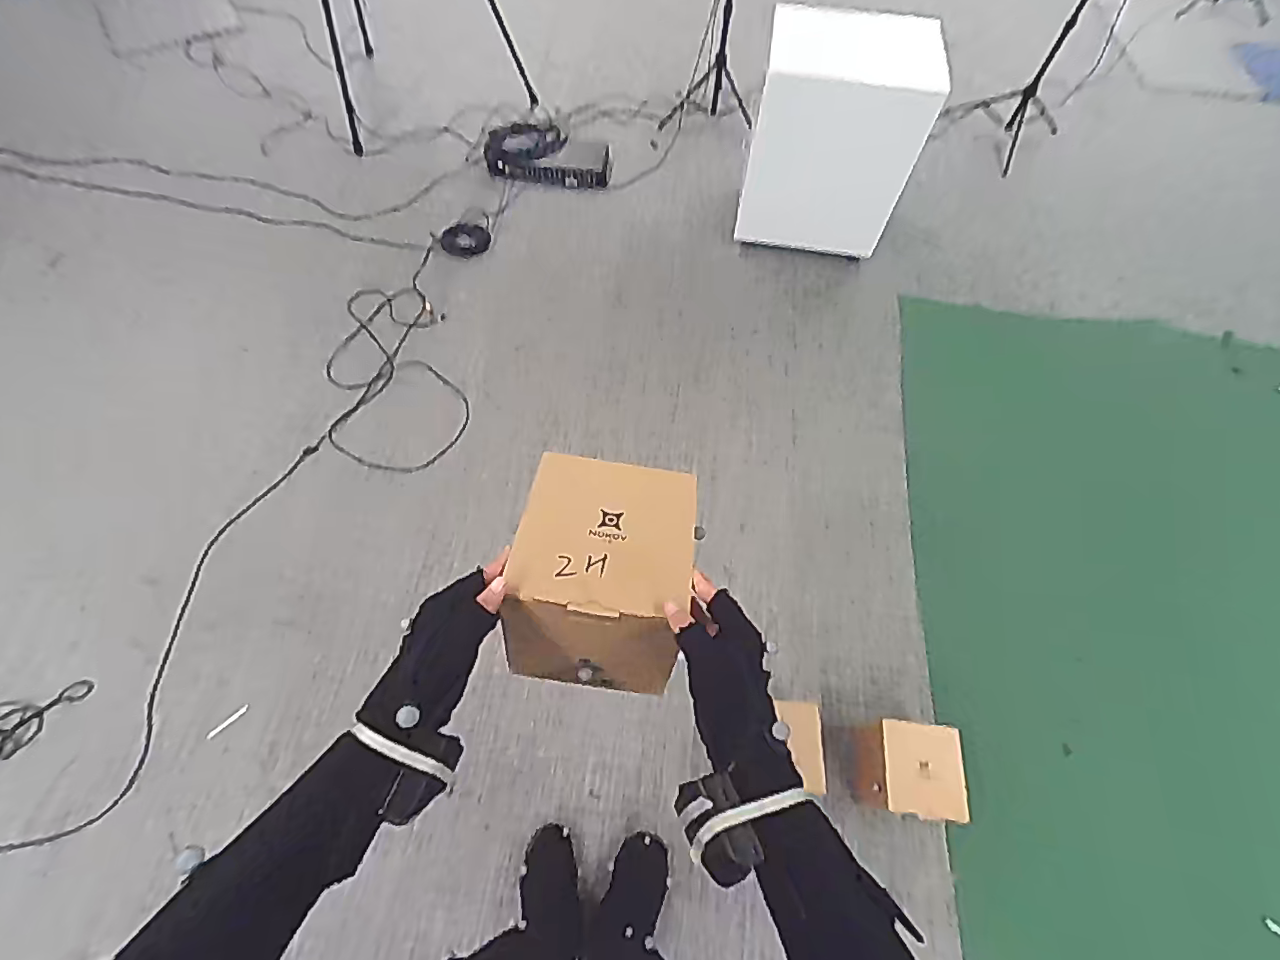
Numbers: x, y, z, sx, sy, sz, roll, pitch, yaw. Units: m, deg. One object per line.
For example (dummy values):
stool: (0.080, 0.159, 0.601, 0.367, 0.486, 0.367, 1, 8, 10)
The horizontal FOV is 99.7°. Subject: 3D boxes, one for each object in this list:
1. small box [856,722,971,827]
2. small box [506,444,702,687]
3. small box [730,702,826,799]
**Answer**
small box: (0.587, 0.643, 1.188, 0.168, 0.176, 0.179, 7, 62, 2)
small box: (-0.033, 0.091, 0.570, 0.168, 0.176, 0.179, 8, 48, 0)
small box: (0.298, 0.599, 1.198, 0.168, 0.176, 0.179, 4, 61, -1)
